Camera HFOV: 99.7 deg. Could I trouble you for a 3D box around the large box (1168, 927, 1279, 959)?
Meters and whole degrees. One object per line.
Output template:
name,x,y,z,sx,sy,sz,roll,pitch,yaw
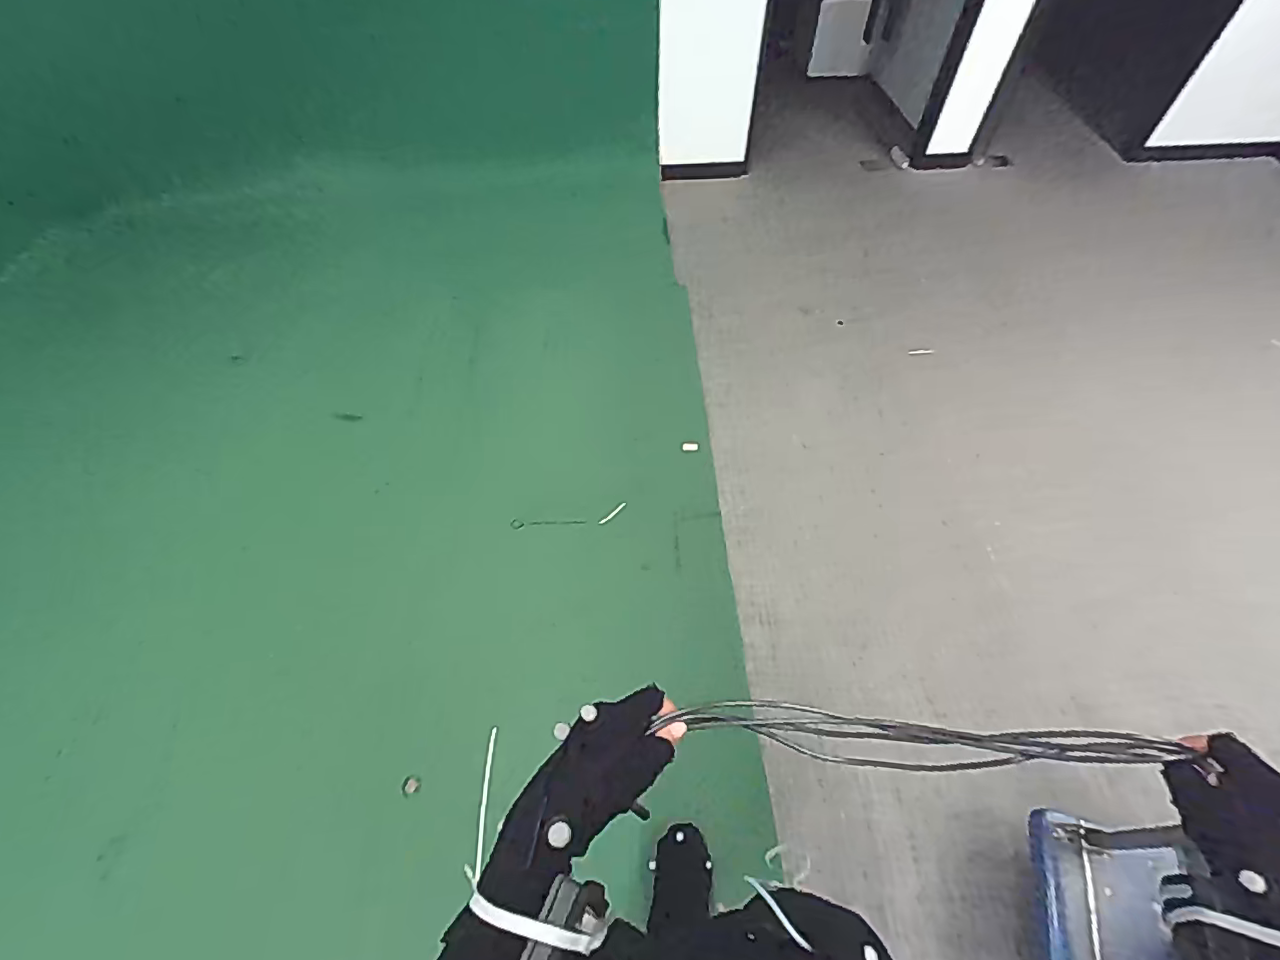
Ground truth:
large box,1.101,0.882,0.738,0.320,0.320,0.408,-4,54,-1
